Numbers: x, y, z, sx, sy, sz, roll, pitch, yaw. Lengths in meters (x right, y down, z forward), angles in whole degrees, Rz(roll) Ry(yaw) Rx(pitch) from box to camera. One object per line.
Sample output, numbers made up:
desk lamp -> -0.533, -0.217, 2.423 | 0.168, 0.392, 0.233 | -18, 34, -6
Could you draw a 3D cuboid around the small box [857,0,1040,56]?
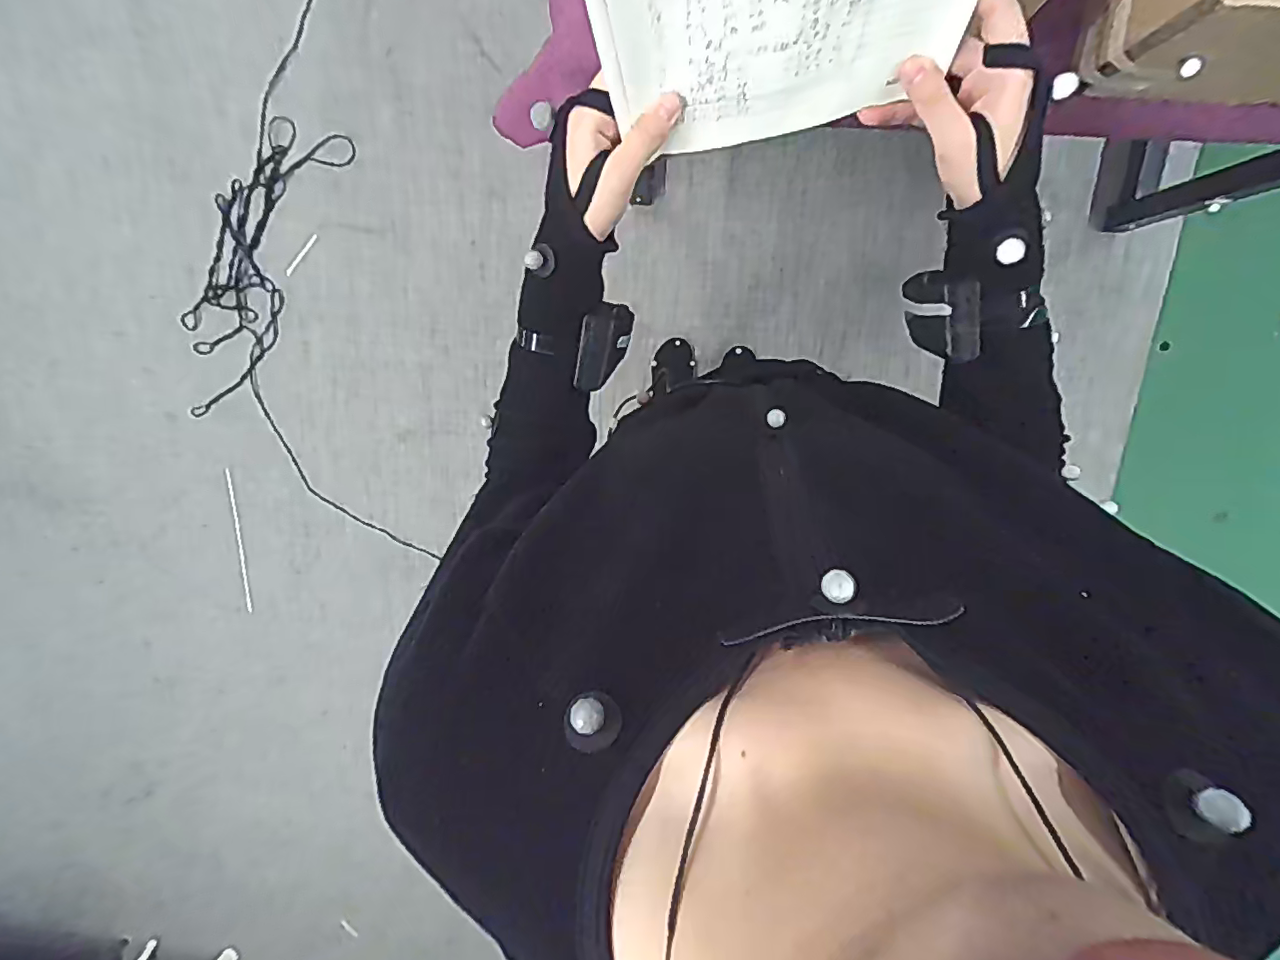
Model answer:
small box -> 0.330, -0.564, 0.539 | 0.168, 0.176, 0.179 | 5, 101, 4
